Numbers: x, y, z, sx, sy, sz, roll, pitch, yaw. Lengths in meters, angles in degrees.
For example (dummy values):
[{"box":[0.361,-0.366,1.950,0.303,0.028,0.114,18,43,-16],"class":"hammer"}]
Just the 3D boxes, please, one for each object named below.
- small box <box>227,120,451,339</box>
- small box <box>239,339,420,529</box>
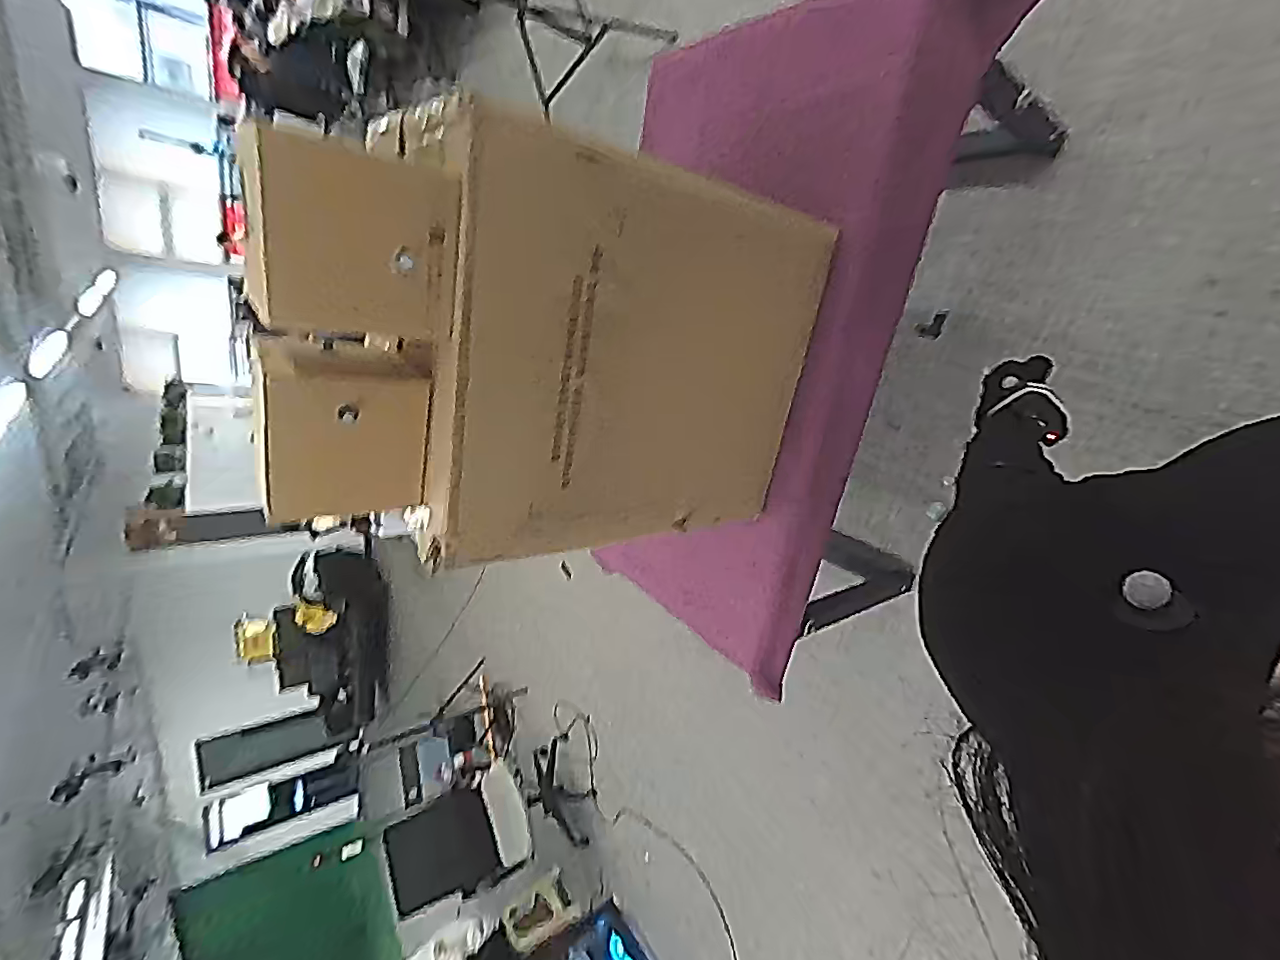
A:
[{"box":[-0.310,-0.248,0.556,0.179,0.176,0.168,35,122,44],"class":"small box"},{"box":[-0.380,-0.062,0.666,0.168,0.176,0.179,35,121,45],"class":"small box"}]
